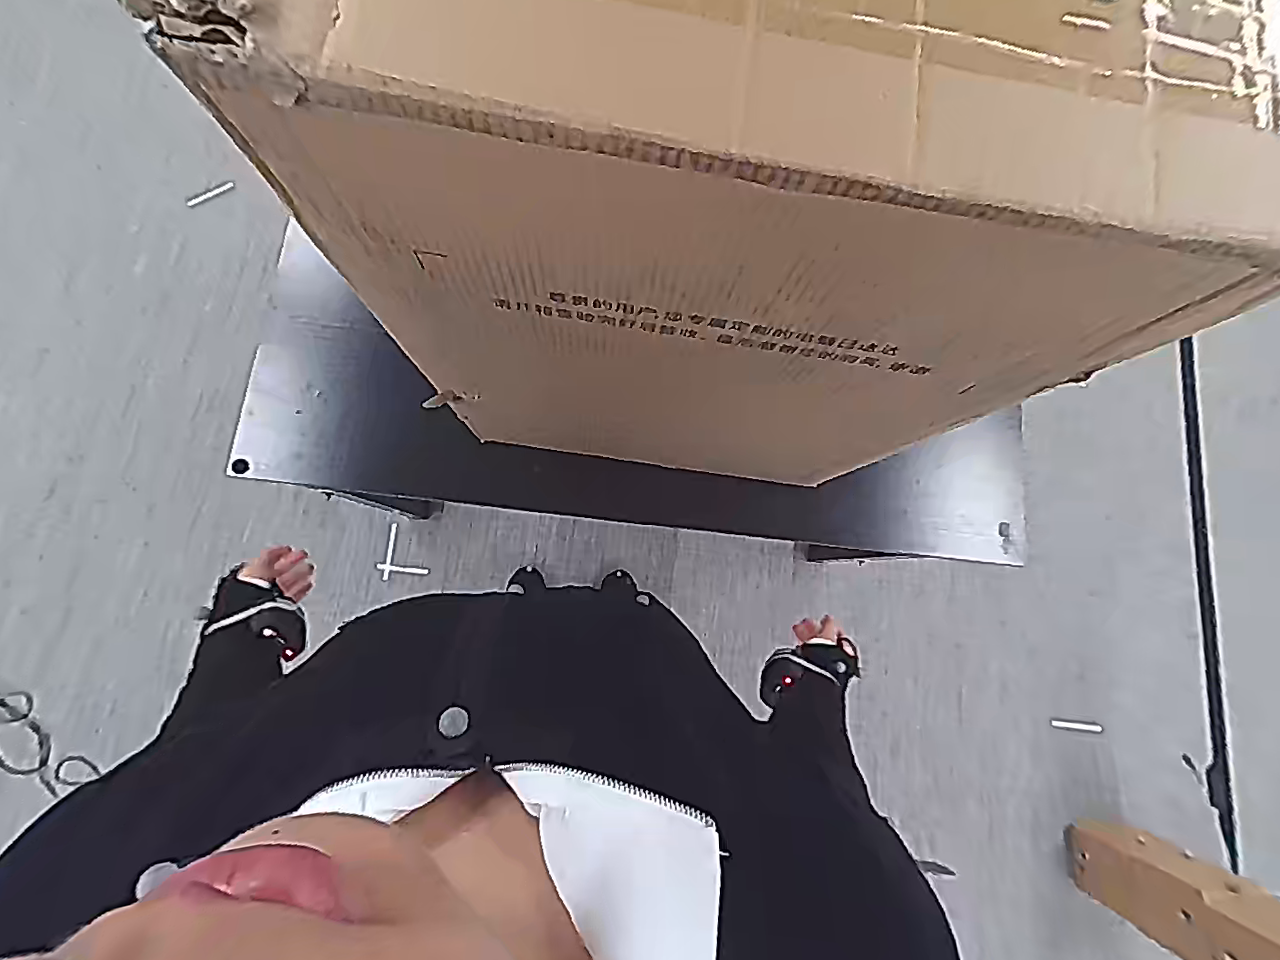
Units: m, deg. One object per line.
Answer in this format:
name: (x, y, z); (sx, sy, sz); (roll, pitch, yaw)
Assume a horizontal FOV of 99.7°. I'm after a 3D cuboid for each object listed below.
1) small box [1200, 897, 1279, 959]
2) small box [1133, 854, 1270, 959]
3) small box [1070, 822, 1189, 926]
small box: (1.308, 0.979, 1.090); (0.179, 0.176, 0.168); (-1, 80, -5)
small box: (1.300, 0.999, 1.254); (0.168, 0.176, 0.179); (3, 80, -4)
small box: (1.284, 1.022, 1.416); (0.179, 0.176, 0.168); (0, 79, -4)
